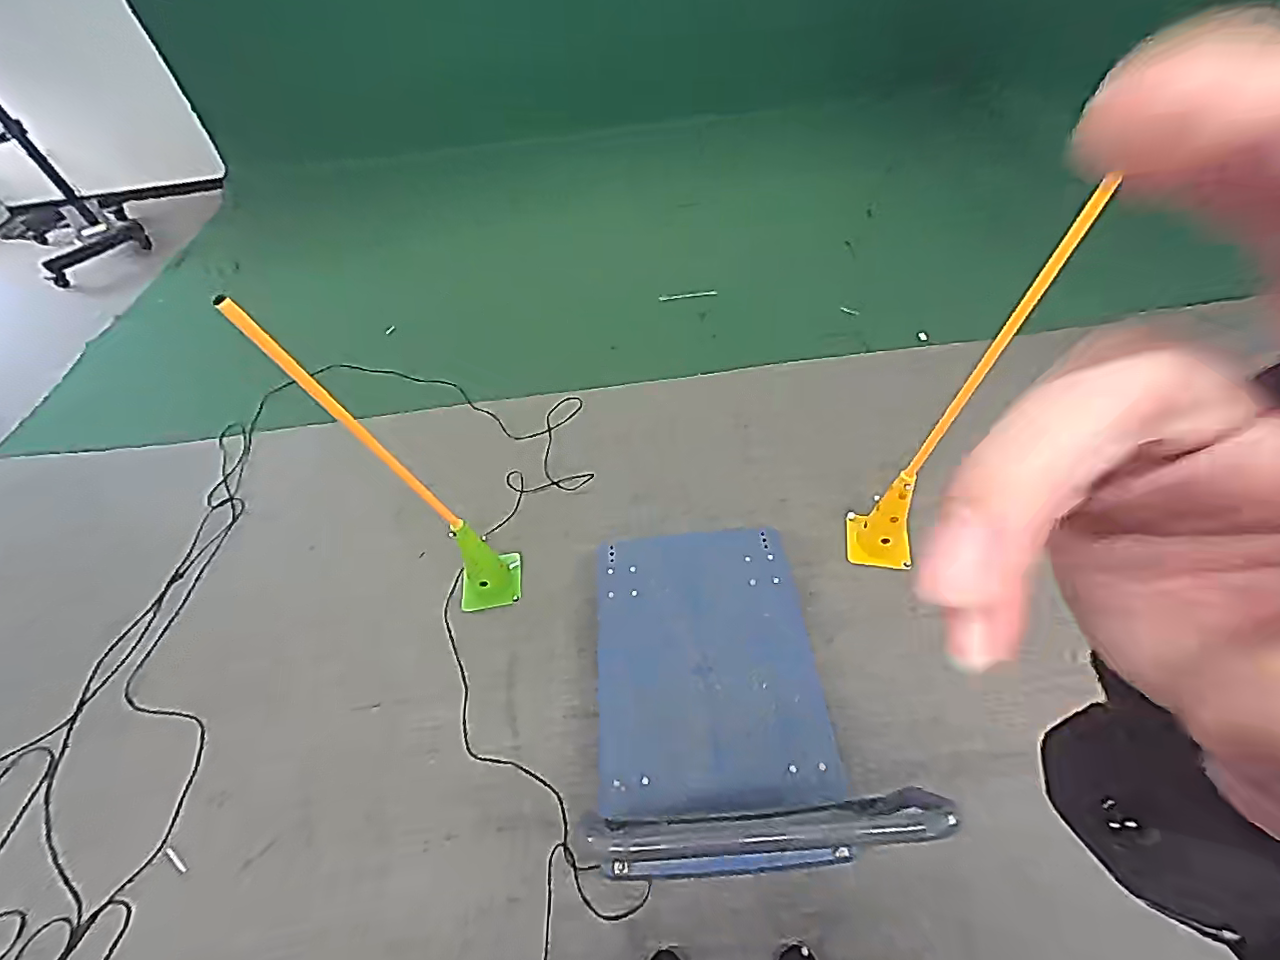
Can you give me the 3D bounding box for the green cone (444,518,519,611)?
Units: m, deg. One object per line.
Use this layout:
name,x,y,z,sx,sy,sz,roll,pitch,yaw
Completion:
green cone,-0.534,0.235,1.724,0.202,0.368,0.200,-11,50,-1
